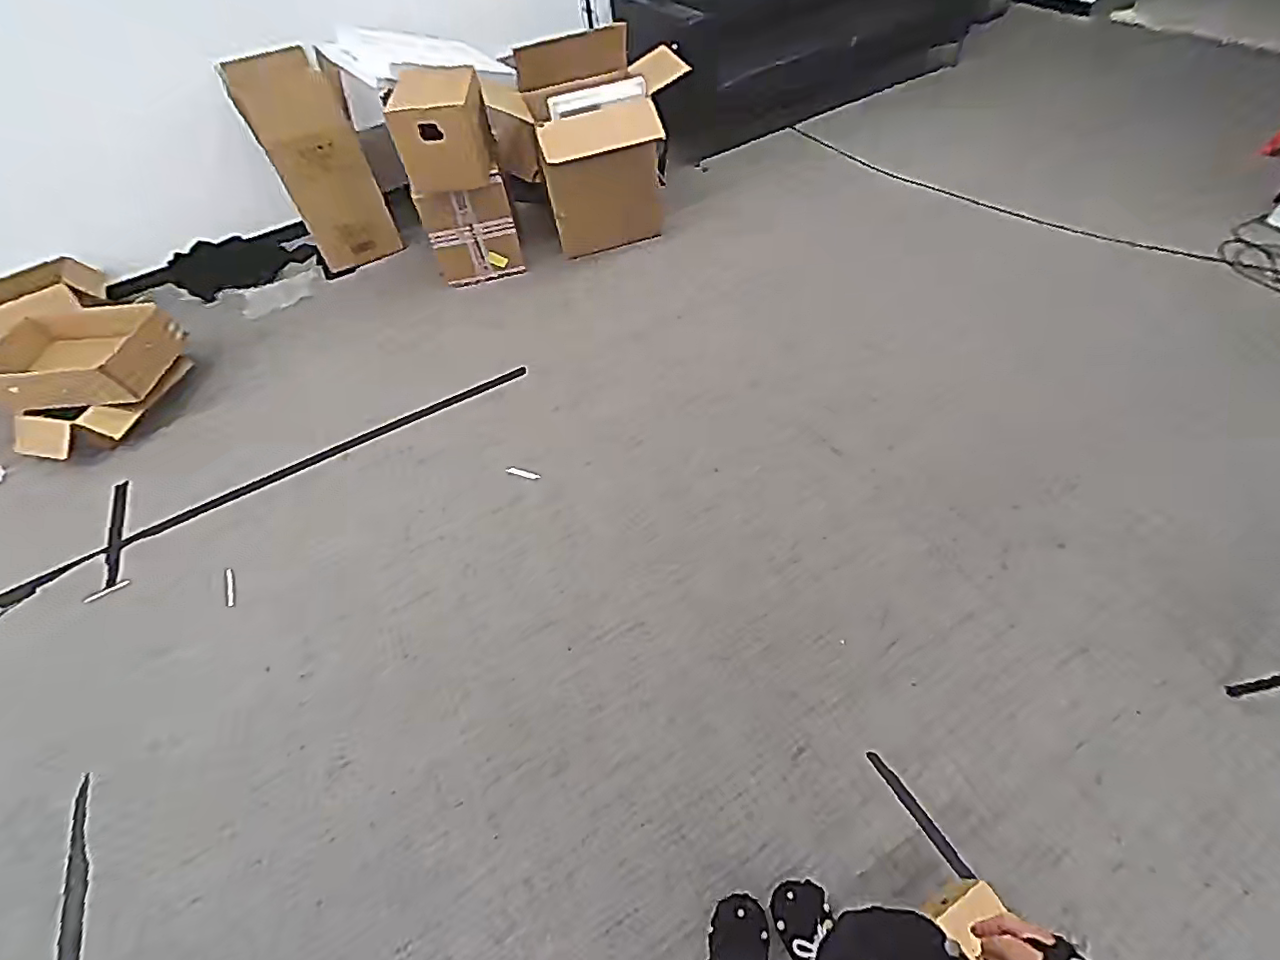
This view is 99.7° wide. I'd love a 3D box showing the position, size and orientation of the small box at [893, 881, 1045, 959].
[{"bbox_3d":[0.618,0.895,1.022,0.179,0.176,0.168,-27,55,-14],"label":"small box"}]
